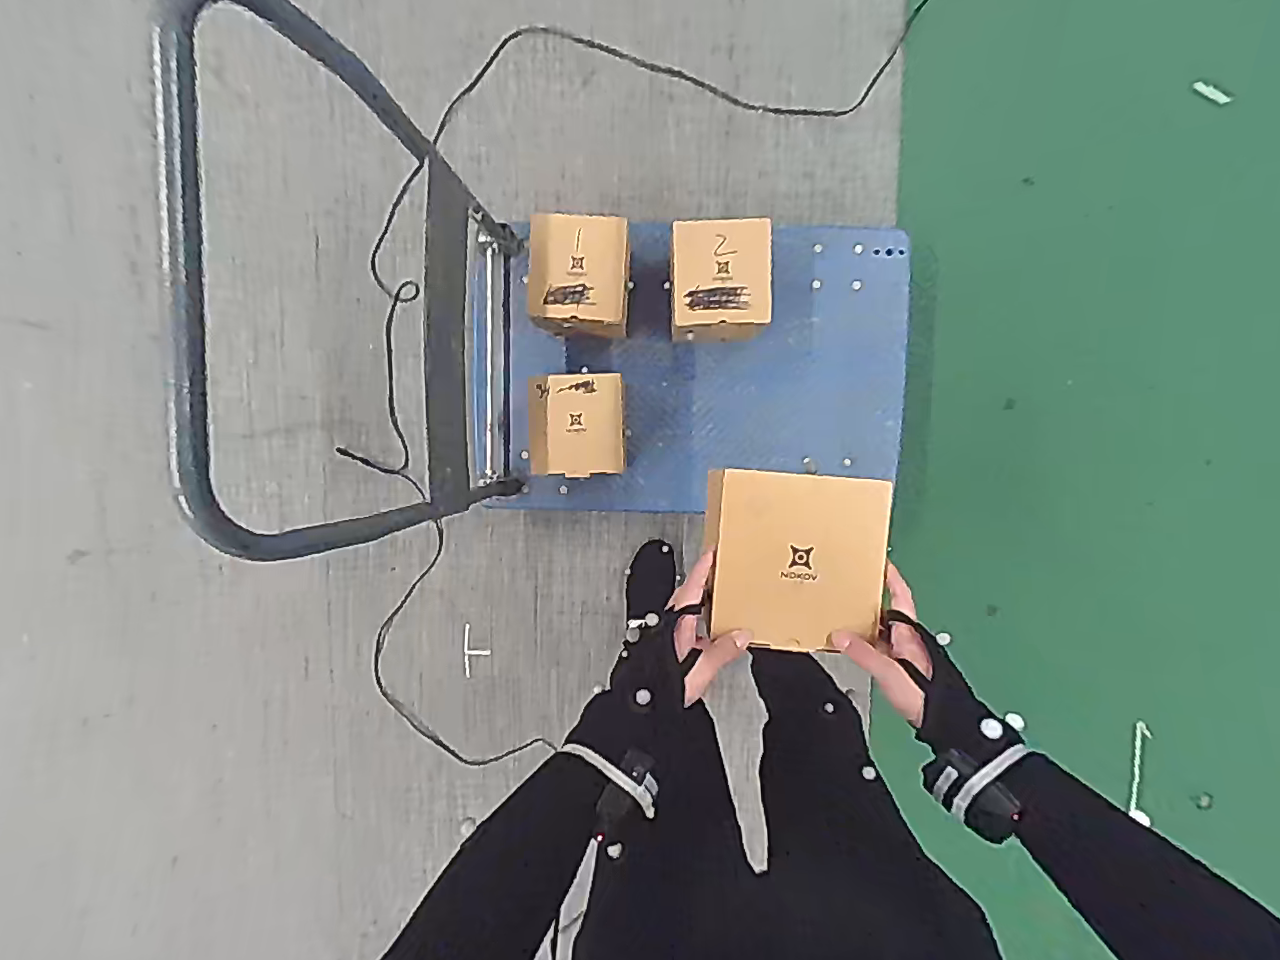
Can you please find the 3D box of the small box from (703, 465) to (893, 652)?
[{"bbox_3d":[0.163,0.075,0.614,0.168,0.176,0.179,4,93,2],"label":"small box"}]

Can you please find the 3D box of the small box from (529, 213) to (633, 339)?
[{"bbox_3d":[-0.101,-0.363,0.992,0.168,0.176,0.179,4,94,0],"label":"small box"}]

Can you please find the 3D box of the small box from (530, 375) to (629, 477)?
[{"bbox_3d":[-0.106,-0.101,1.013,0.168,0.176,0.179,-1,95,1],"label":"small box"}]
